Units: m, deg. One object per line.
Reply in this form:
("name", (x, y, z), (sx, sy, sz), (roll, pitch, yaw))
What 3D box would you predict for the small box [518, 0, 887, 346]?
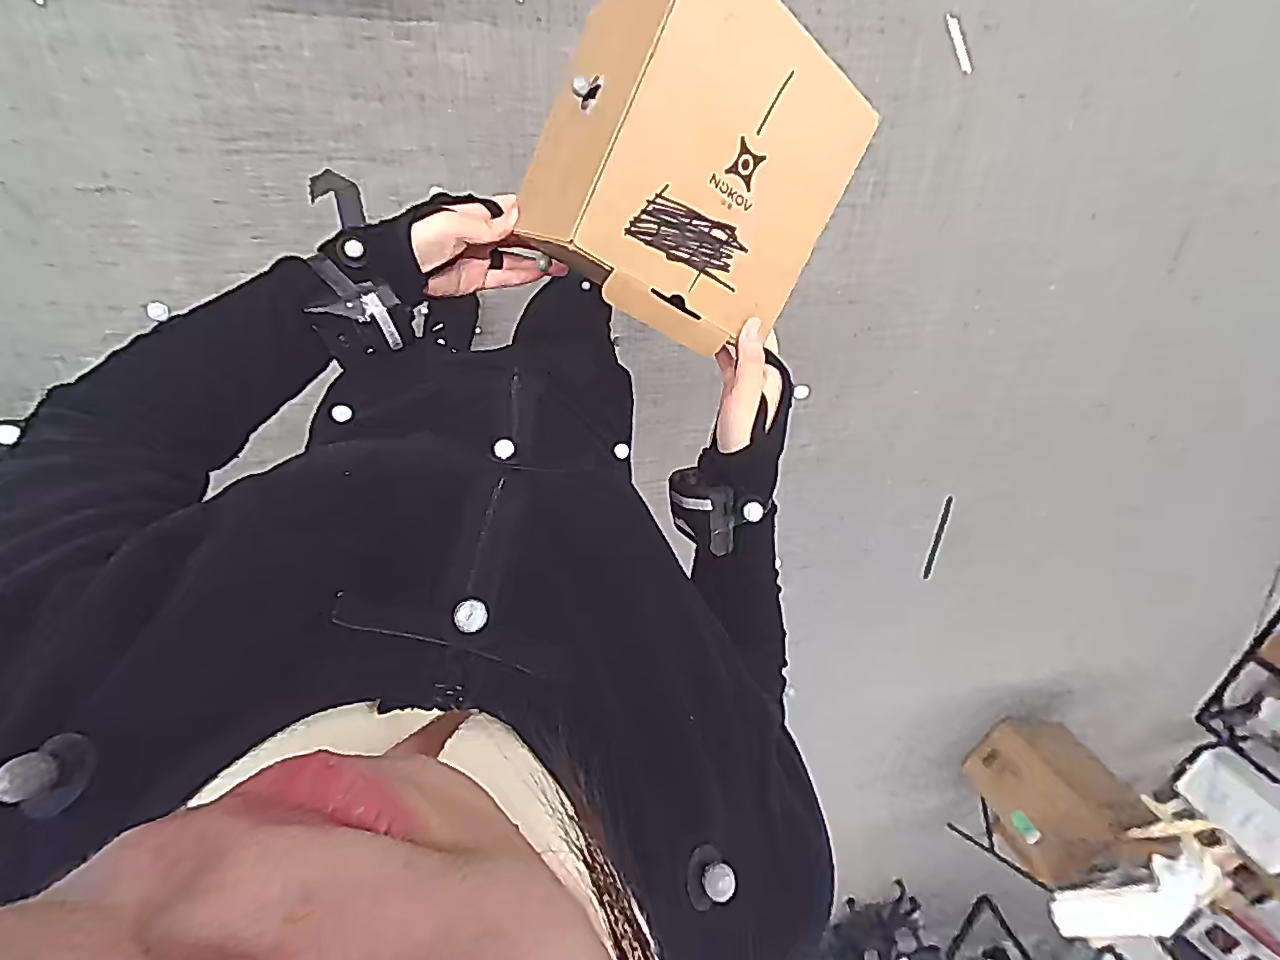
("small box", (0.027, -0.225, 0.391), (0.168, 0.176, 0.179), (18, 105, -34))
